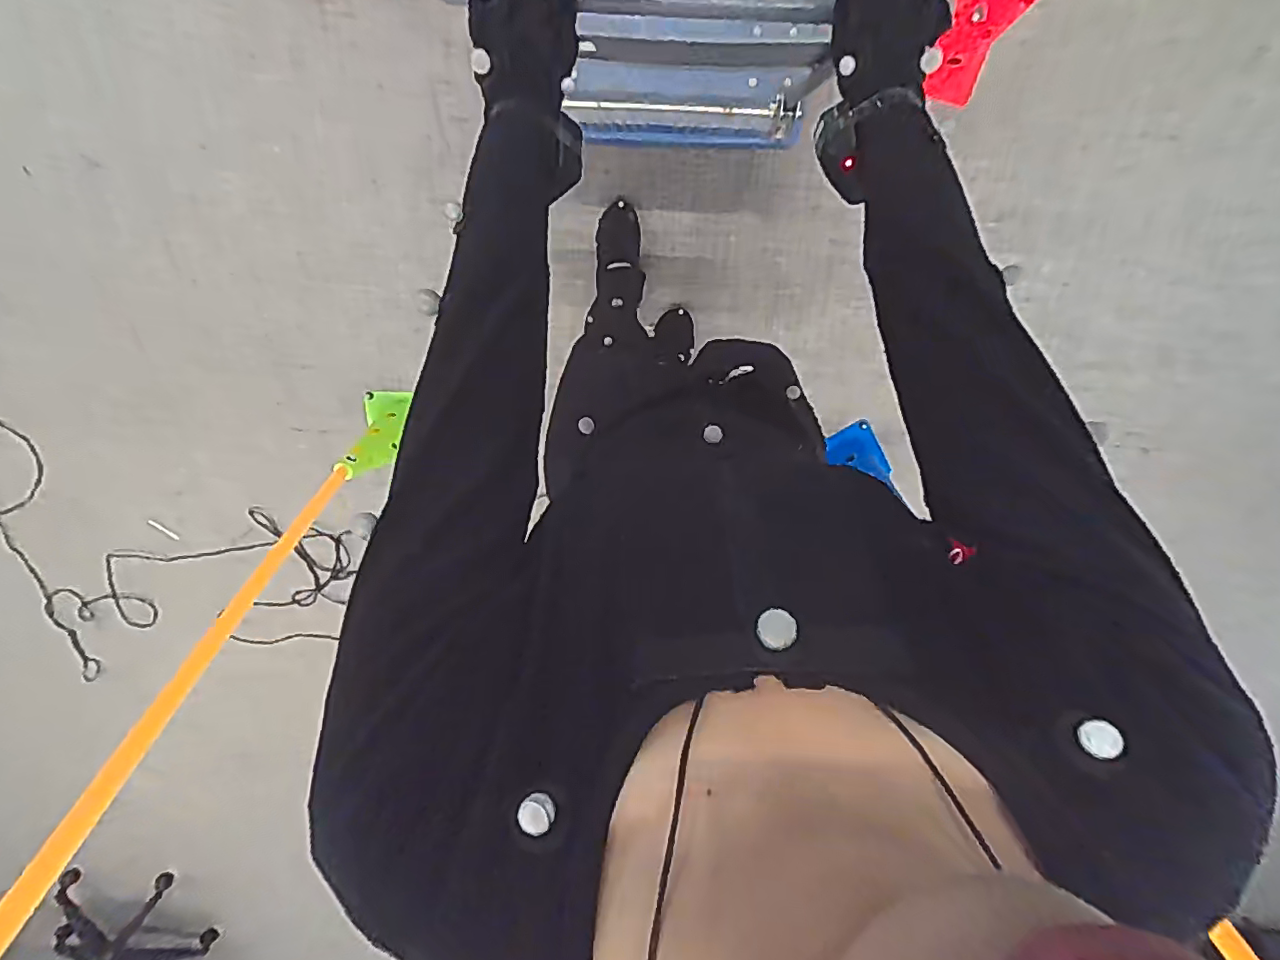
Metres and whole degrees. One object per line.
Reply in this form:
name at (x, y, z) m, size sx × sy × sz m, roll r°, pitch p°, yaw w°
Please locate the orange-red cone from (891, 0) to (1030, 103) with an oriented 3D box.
orange-red cone at (0.670, -0.894, 1.020) m, size 0.198 × 0.360 × 0.199 m, roll 14°, pitch 111°, yaw -5°
